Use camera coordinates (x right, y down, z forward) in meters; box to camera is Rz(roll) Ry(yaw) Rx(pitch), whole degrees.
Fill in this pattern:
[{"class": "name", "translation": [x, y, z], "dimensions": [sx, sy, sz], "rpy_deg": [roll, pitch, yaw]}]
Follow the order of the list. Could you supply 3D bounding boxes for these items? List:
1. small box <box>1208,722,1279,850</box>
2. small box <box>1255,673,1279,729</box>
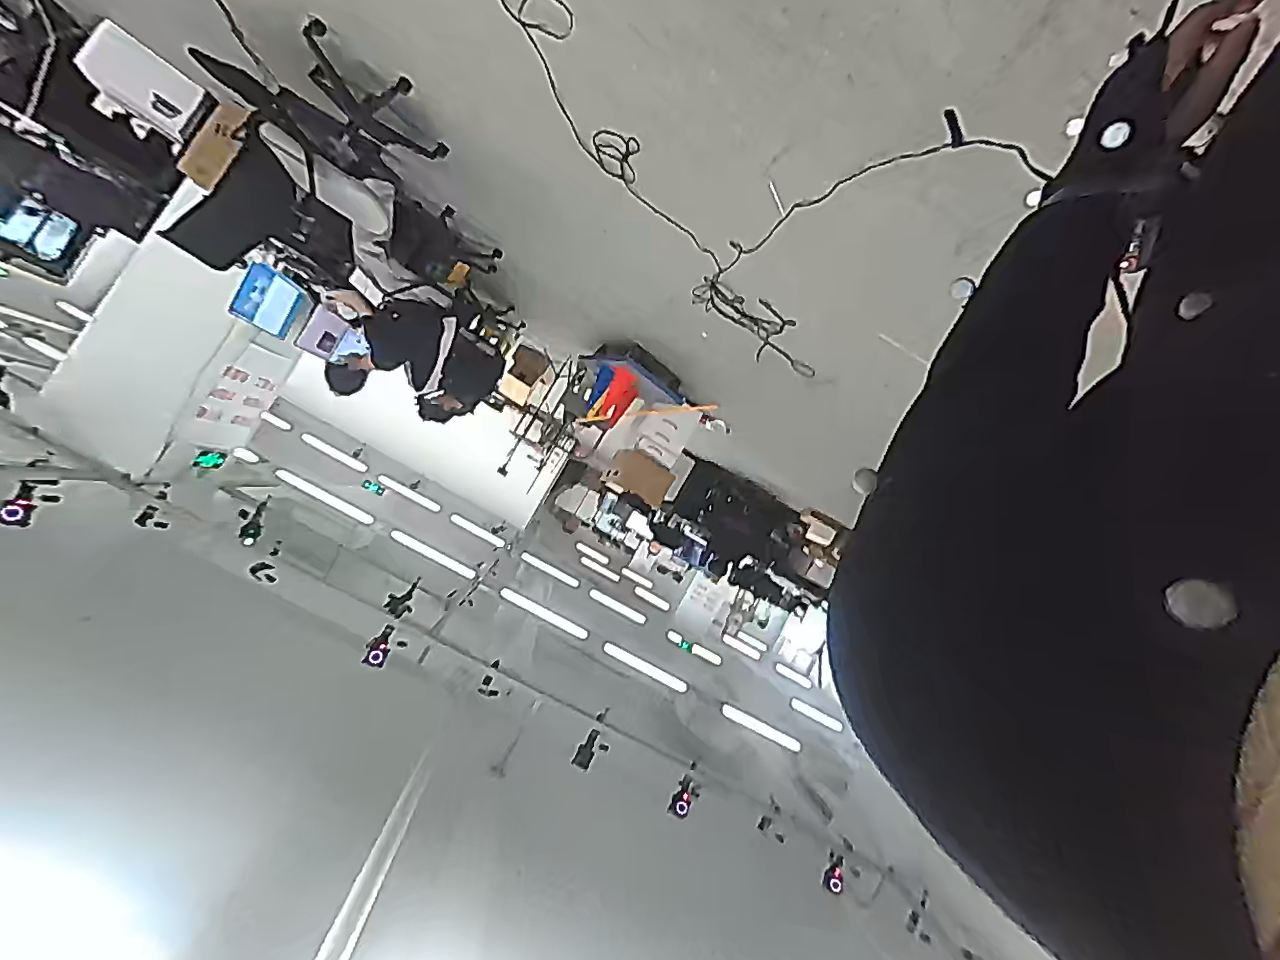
[{"class": "small box", "translation": [1.063, 0.510, 0.835], "dimensions": [0.179, 0.176, 0.168], "rpy_deg": [30, 176, -9]}, {"class": "small box", "translation": [1.149, 0.372, 0.843], "dimensions": [0.179, 0.176, 0.168], "rpy_deg": [31, 176, -9]}]
